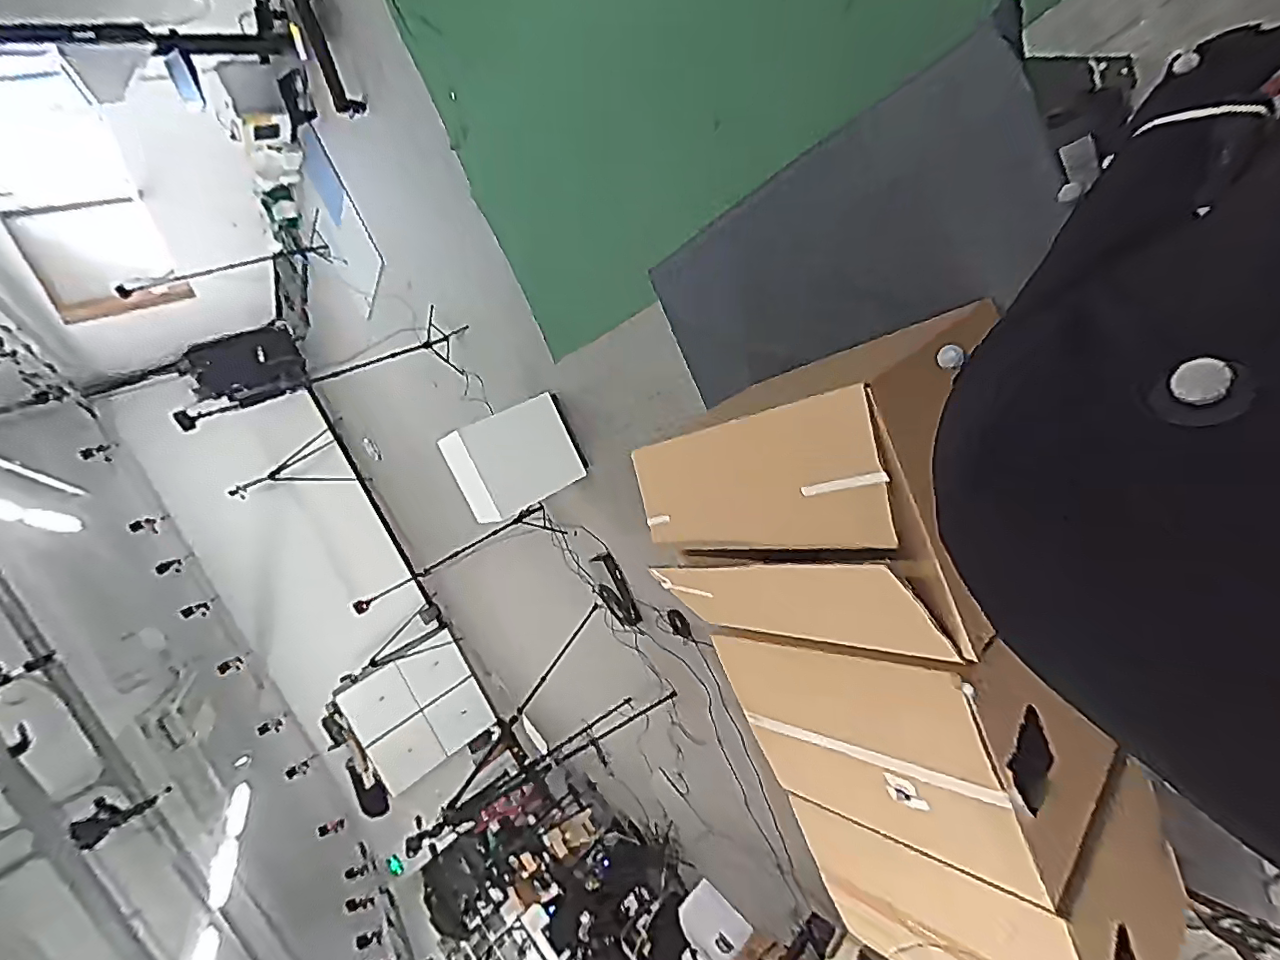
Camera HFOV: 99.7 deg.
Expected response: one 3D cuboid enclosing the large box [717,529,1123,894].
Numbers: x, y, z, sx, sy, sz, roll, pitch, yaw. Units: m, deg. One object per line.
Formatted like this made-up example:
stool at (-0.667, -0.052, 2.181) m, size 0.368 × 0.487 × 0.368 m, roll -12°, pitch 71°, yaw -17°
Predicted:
large box at (0.400, 0.288, 0.818) m, size 0.408 × 0.320 × 0.320 m, roll -15°, pitch 103°, yaw 56°
